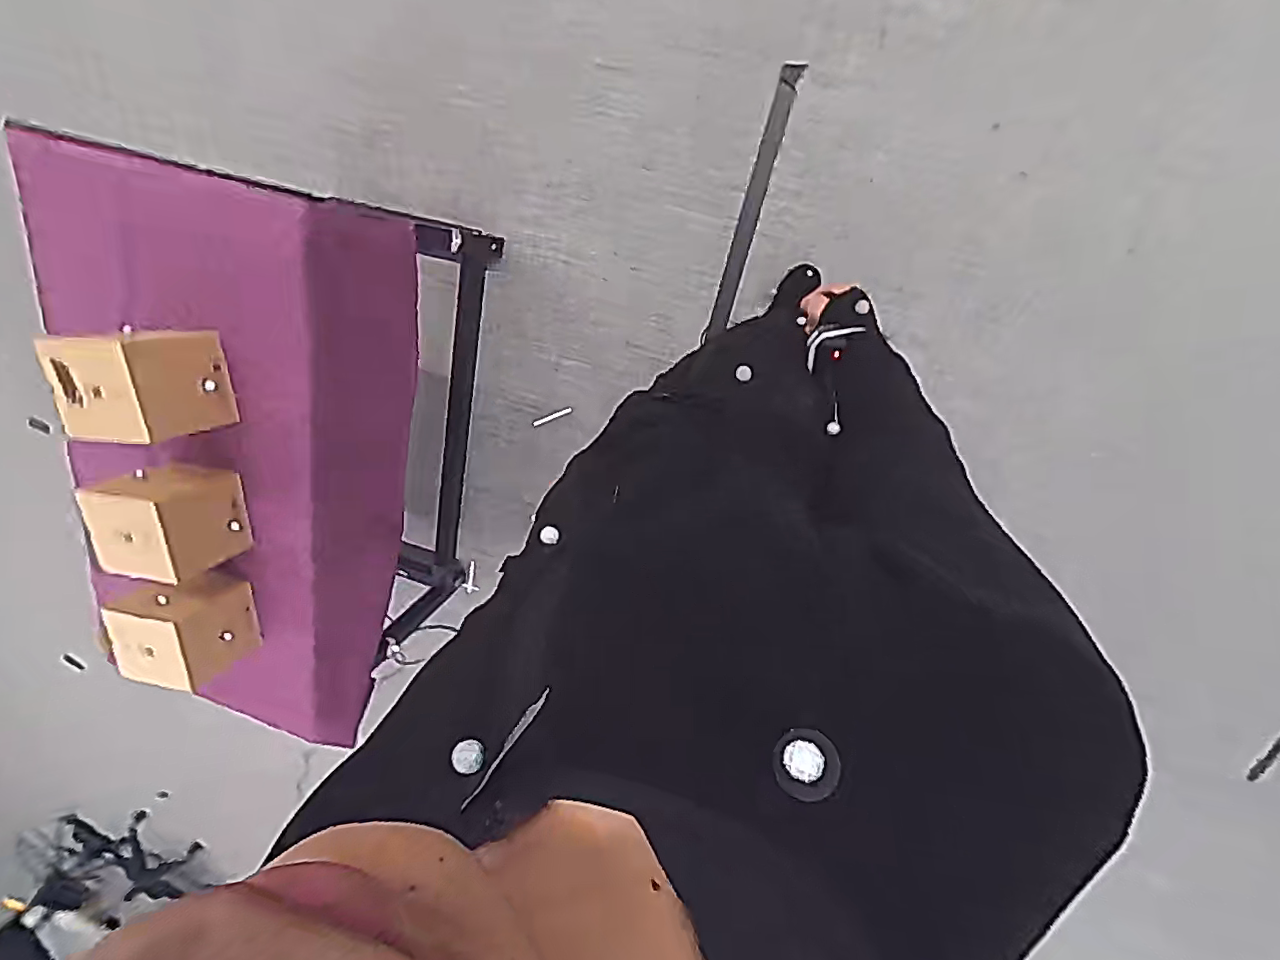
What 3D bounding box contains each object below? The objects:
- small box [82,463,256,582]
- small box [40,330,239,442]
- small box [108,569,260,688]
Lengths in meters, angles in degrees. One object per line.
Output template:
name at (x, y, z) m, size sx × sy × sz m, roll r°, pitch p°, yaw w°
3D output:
small box at (-0.899, 0.073, 1.049) m, size 0.179 × 0.176 × 0.168 m, roll 7°, pitch 112°, yaw 11°
small box at (-0.862, -0.171, 0.949) m, size 0.179 × 0.176 × 0.168 m, roll 4°, pitch 111°, yaw 11°
small box at (-0.944, 0.304, 1.142) m, size 0.179 × 0.176 × 0.168 m, roll 8°, pitch 111°, yaw 11°
